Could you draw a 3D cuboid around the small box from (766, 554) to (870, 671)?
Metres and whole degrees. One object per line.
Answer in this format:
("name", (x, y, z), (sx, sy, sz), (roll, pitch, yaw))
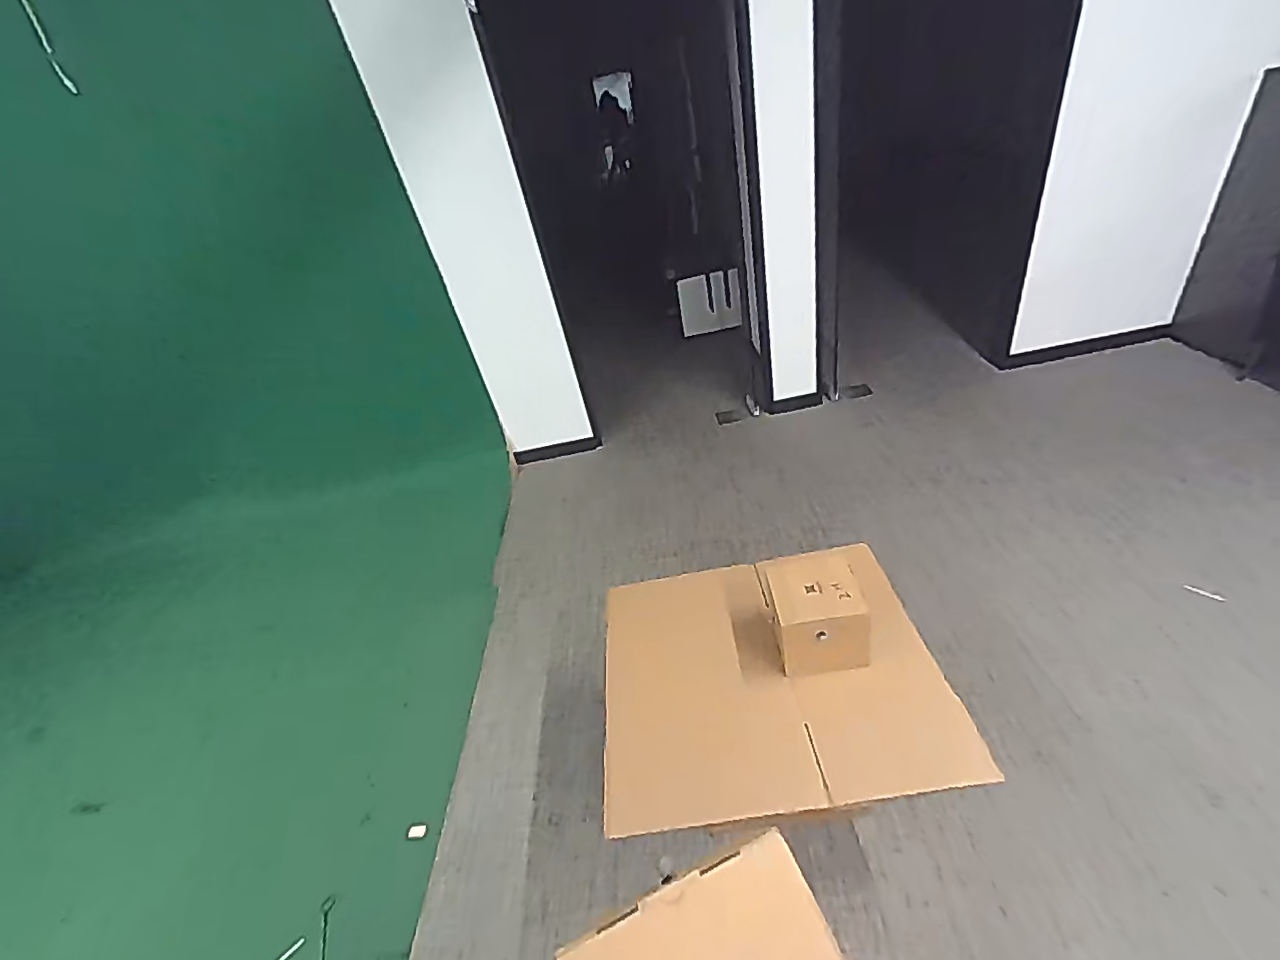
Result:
("small box", (0.378, 0.285, 1.153), (0.179, 0.176, 0.168), (-11, 35, 8))

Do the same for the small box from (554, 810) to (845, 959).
("small box", (0.056, 0.366, 0.379), (0.168, 0.176, 0.179), (-23, 57, -10))
